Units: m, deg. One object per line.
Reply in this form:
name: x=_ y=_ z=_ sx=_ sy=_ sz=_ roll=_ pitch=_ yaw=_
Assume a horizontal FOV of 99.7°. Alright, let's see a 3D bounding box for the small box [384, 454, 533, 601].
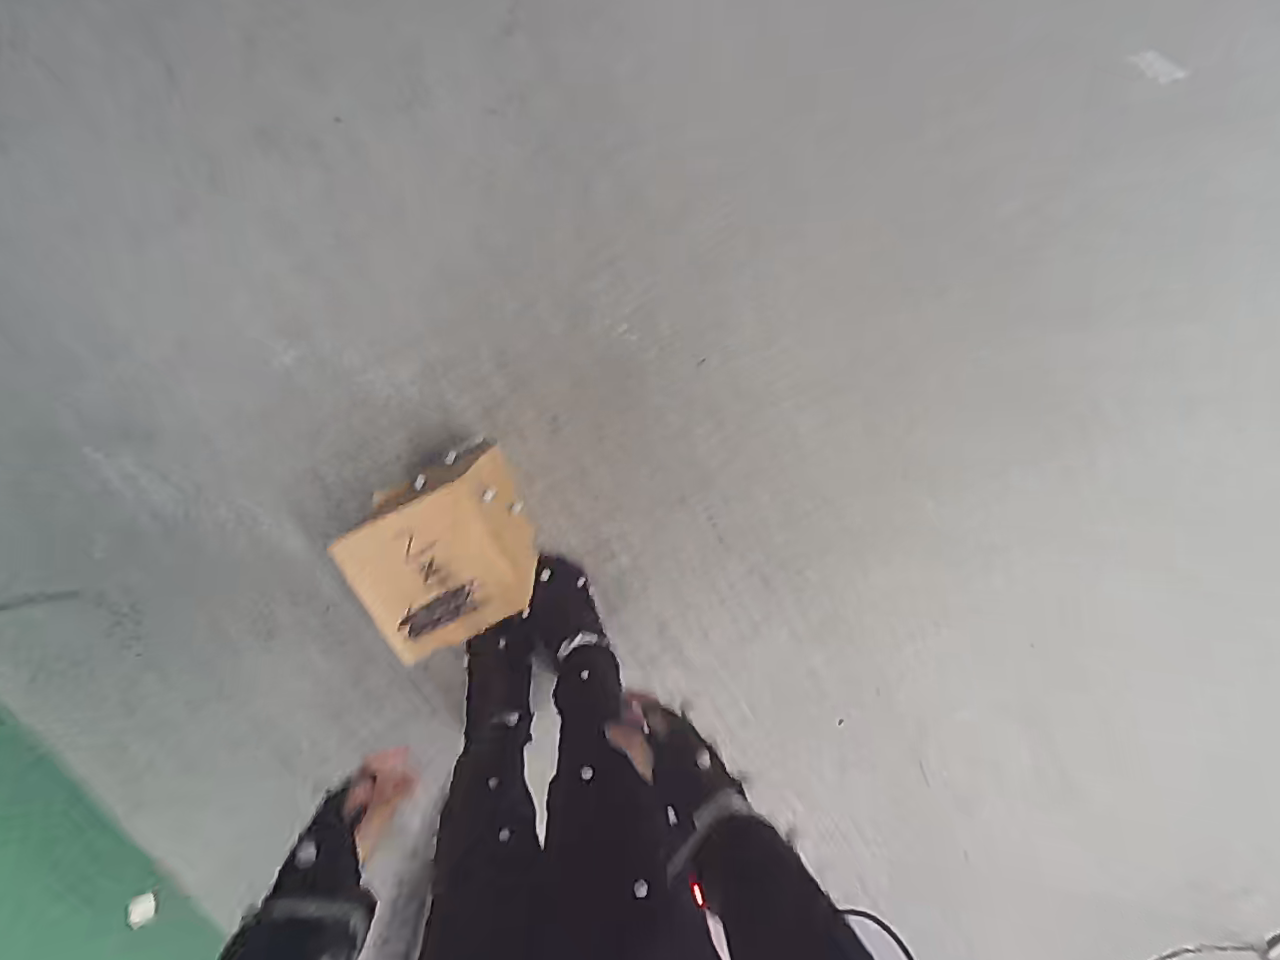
small box: x=-0.280 y=0.064 z=0.876 sx=0.168 sy=0.176 sz=0.179 roll=-19 pitch=103 yaw=-4
